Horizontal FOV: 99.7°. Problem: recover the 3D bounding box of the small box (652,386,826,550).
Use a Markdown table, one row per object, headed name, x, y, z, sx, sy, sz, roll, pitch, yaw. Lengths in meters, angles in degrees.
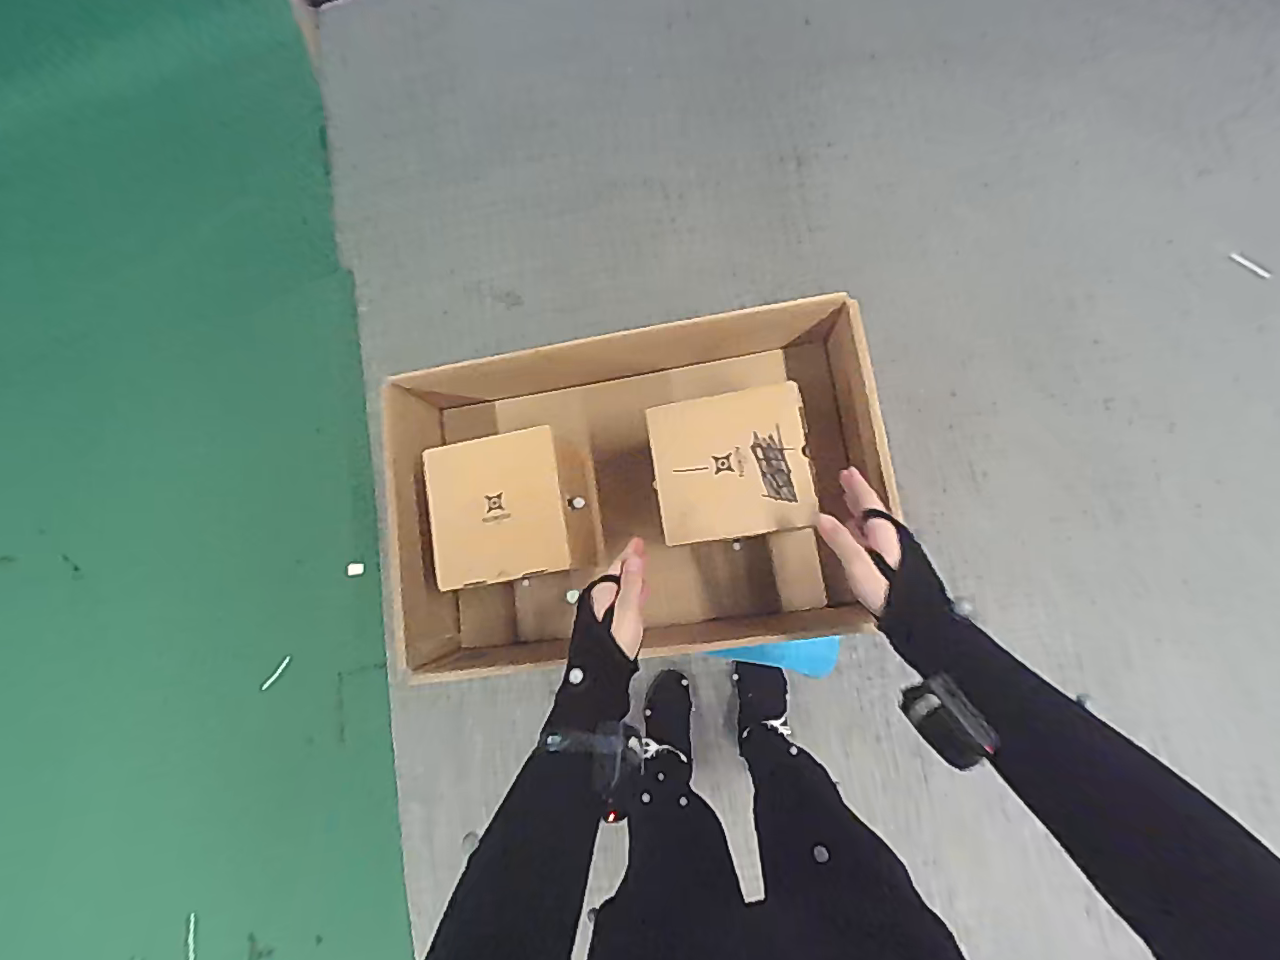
| name | x | y | z | sx | sy | sz | roll | pitch | yaw |
| --- | --- | --- | --- | --- | --- | --- | --- | --- | --- |
| small box | 0.120 | -0.004 | 0.684 | 0.179 | 0.176 | 0.168 | -9 | 80 | 9 |
